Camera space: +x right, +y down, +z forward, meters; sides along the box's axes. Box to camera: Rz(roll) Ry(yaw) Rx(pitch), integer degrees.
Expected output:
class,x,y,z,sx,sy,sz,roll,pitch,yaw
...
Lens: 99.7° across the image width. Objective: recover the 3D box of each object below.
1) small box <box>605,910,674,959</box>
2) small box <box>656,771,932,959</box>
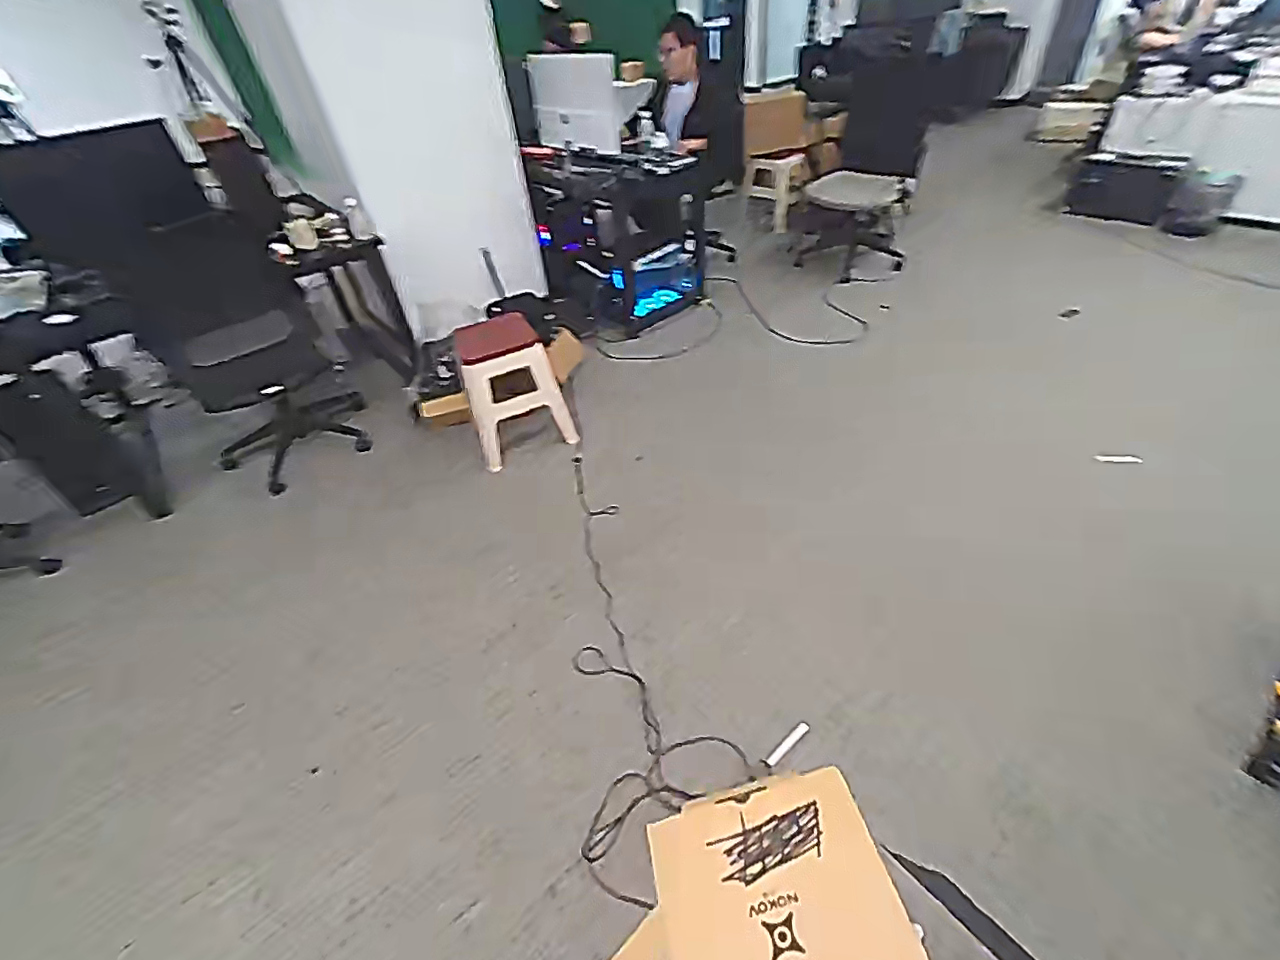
class,x,y,z,sx,sy,sz,roll,pitch,yaw
small box,0.046,0.841,0.907,0.168,0.176,0.179,-5,51,-18
small box,0.123,0.369,0.412,0.168,0.176,0.179,-19,32,2
